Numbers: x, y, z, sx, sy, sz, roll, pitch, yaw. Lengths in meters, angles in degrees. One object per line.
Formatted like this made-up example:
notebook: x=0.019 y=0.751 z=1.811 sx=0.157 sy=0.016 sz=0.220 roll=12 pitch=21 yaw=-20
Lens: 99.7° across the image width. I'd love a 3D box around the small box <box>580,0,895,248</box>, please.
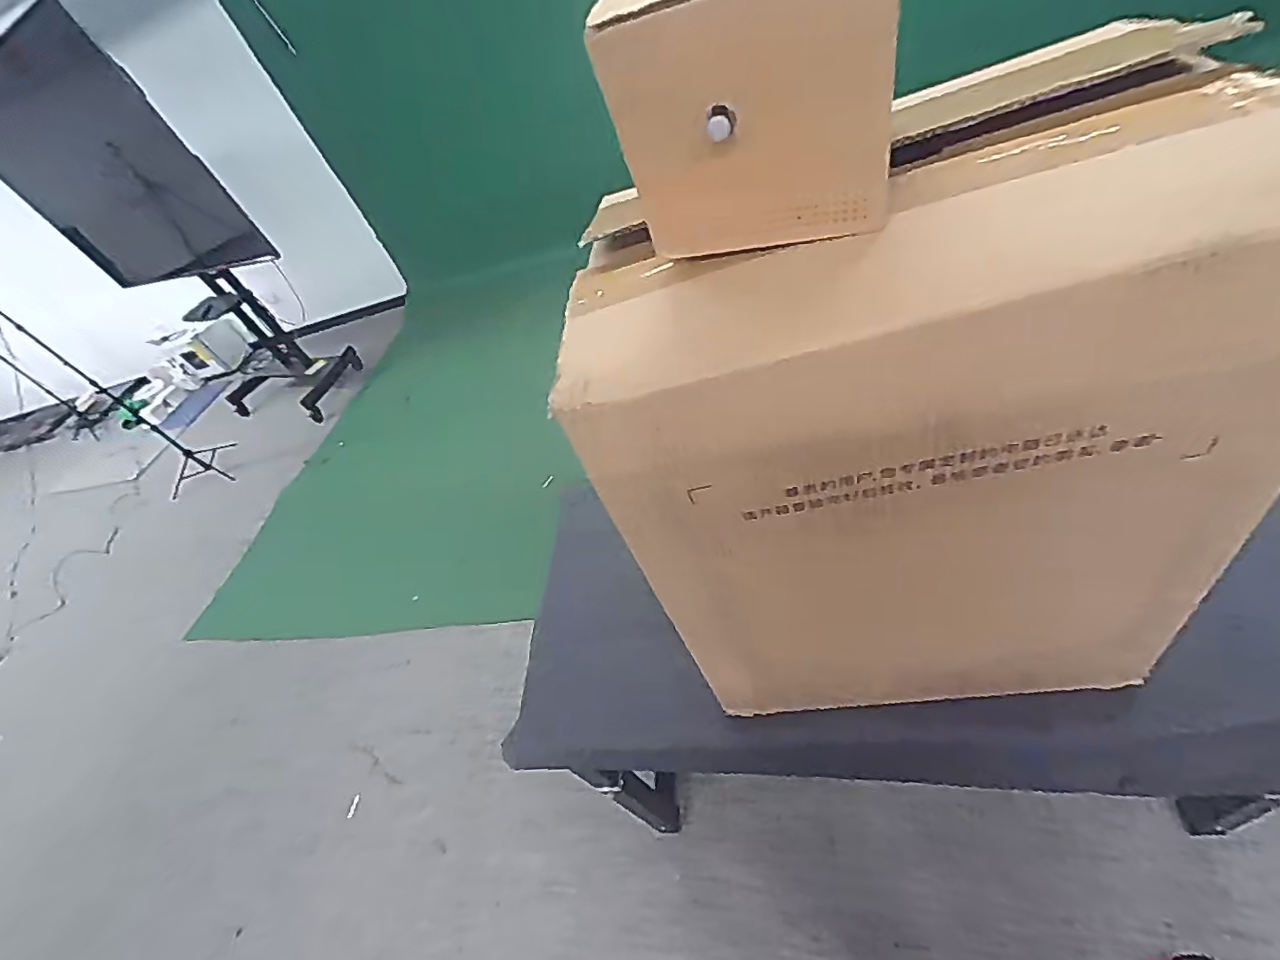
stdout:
small box: x=0.086 y=-0.293 z=0.391 sx=0.179 sy=0.176 sz=0.168 roll=1 pitch=61 yaw=23
